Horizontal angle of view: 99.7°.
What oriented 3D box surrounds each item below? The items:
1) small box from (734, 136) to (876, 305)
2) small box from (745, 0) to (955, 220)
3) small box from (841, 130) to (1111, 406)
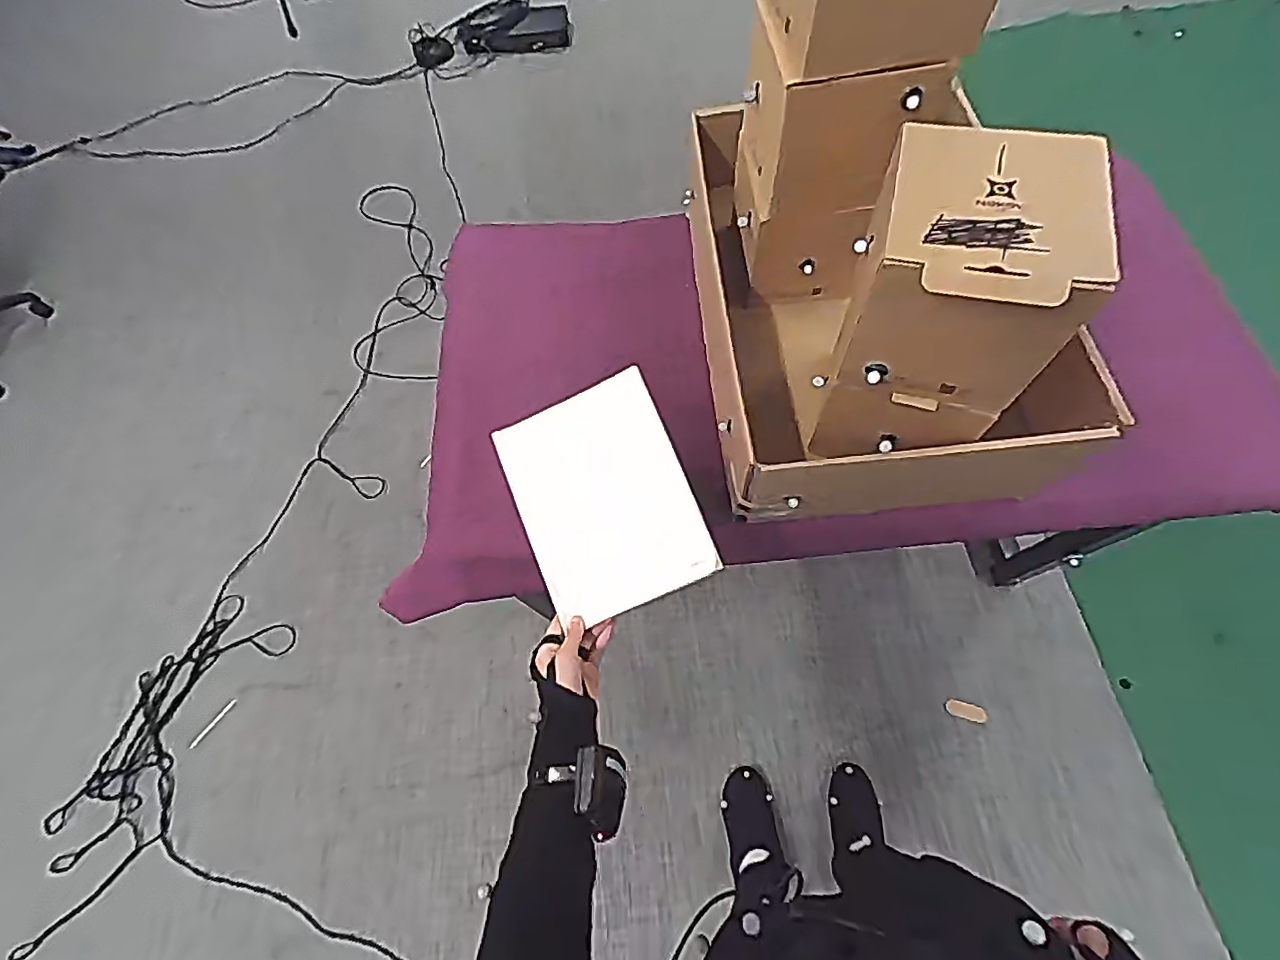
[{"bbox_3d":[0.233,-0.375,0.788,0.168,0.176,0.179,-6,67,3],"label":"small box"},{"bbox_3d":[0.225,-0.436,0.639,0.179,0.176,0.168,-8,67,2],"label":"small box"},{"bbox_3d":[0.300,-0.193,0.515,0.168,0.176,0.179,13,66,13],"label":"small box"}]
